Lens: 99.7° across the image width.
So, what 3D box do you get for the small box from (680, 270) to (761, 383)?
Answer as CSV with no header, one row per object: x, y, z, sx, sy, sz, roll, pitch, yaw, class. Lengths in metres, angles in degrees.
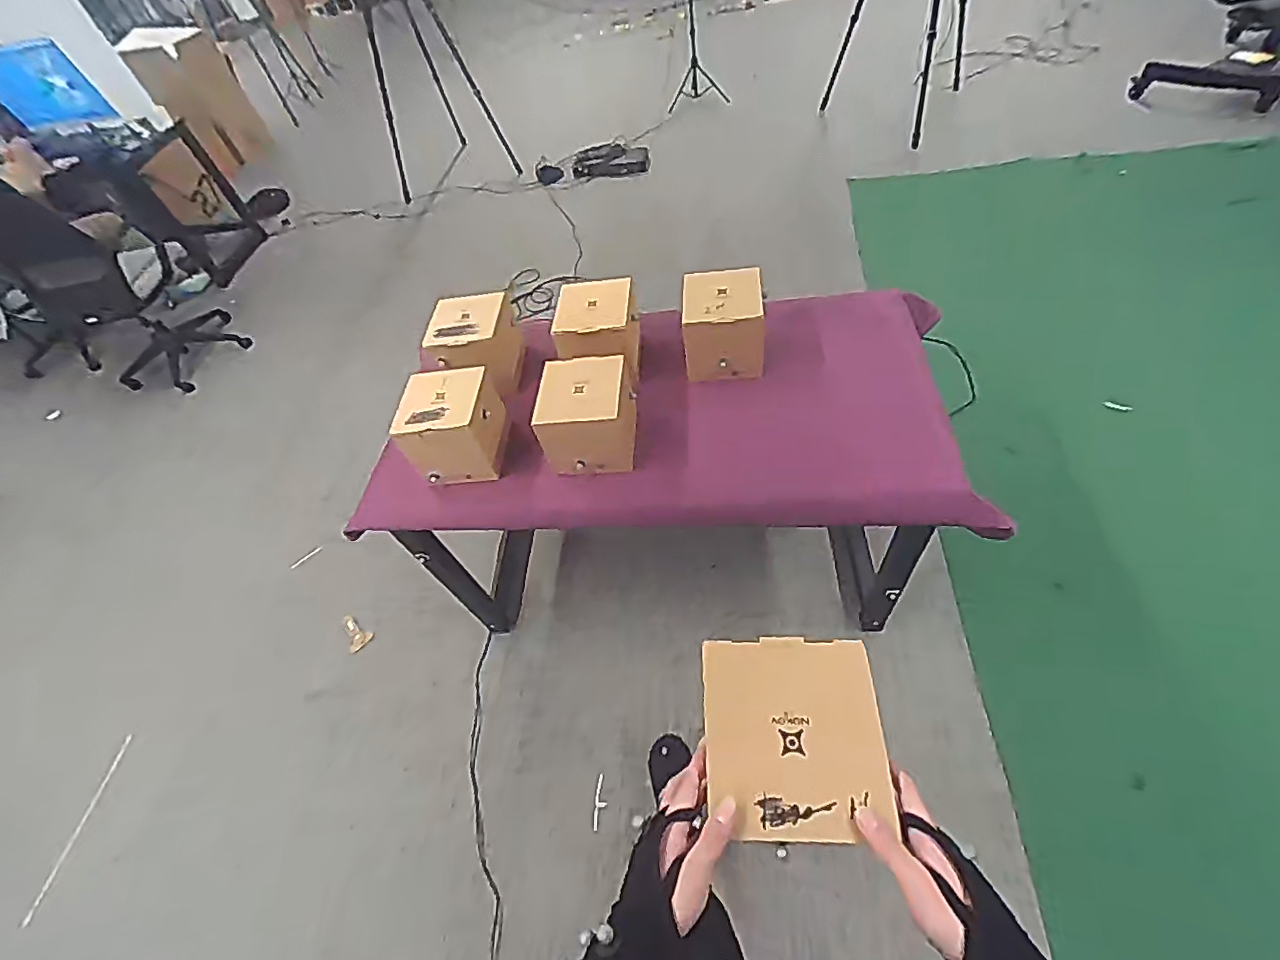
0.181,-0.338,1.207,0.168,0.176,0.179,-2,54,11,small box

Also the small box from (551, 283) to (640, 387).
-0.095,-0.332,1.263,0.168,0.176,0.179,-3,55,9,small box

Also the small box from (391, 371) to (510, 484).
-0.391,-0.103,1.150,0.168,0.176,0.179,-5,51,8,small box

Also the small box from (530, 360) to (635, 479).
-0.108,-0.122,1.110,0.168,0.176,0.179,-3,54,10,small box
